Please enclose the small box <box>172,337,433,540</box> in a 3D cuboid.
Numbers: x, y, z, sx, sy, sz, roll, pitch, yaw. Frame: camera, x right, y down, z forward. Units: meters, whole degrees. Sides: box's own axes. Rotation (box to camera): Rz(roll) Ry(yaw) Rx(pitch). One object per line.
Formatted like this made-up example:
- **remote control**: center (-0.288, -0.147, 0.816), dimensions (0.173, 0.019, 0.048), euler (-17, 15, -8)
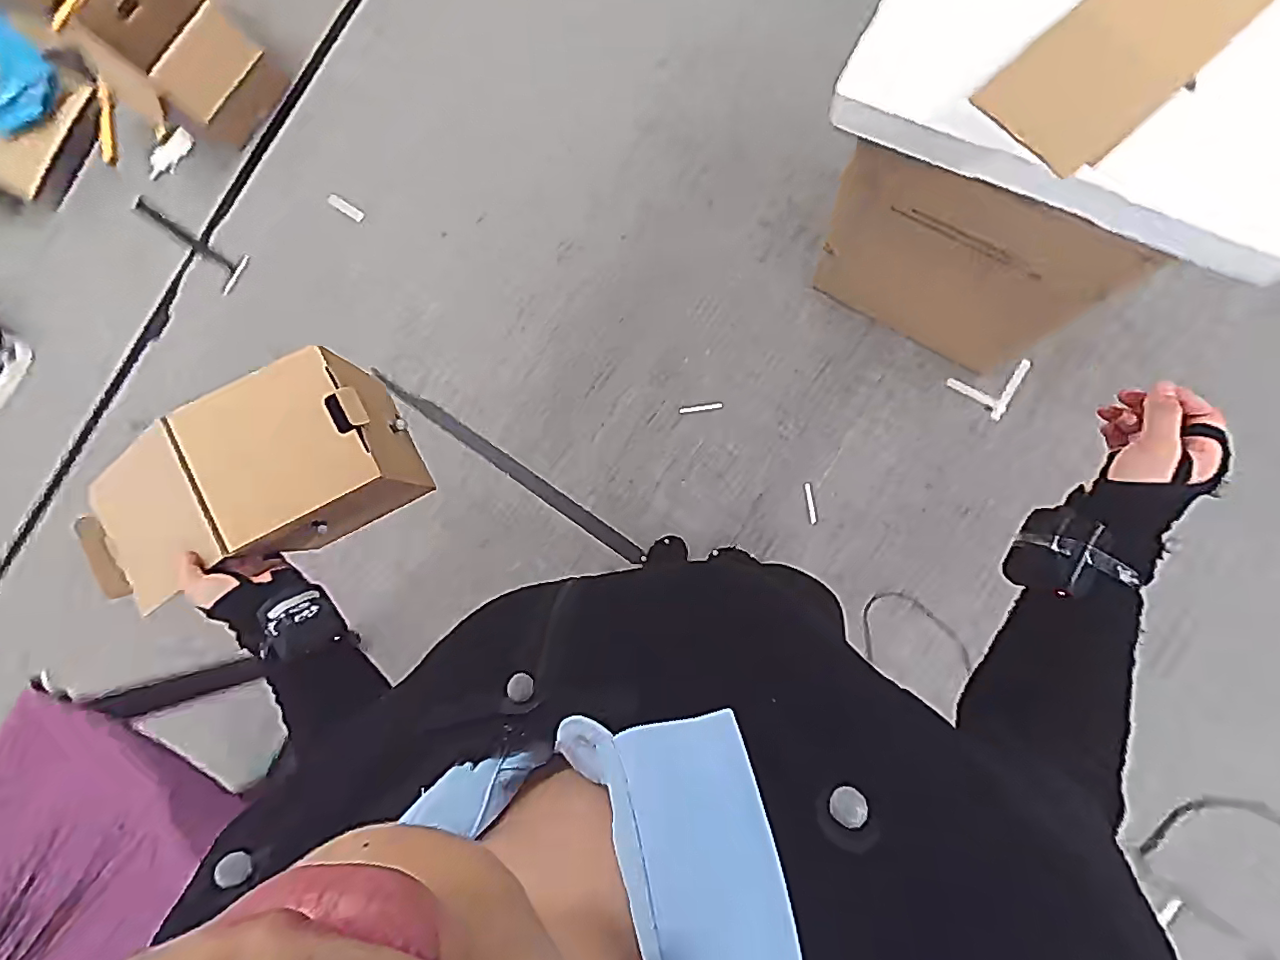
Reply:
- **small box**: center (-0.382, -0.036, 0.645), dimensions (0.179, 0.176, 0.168), euler (-26, 86, -4)
